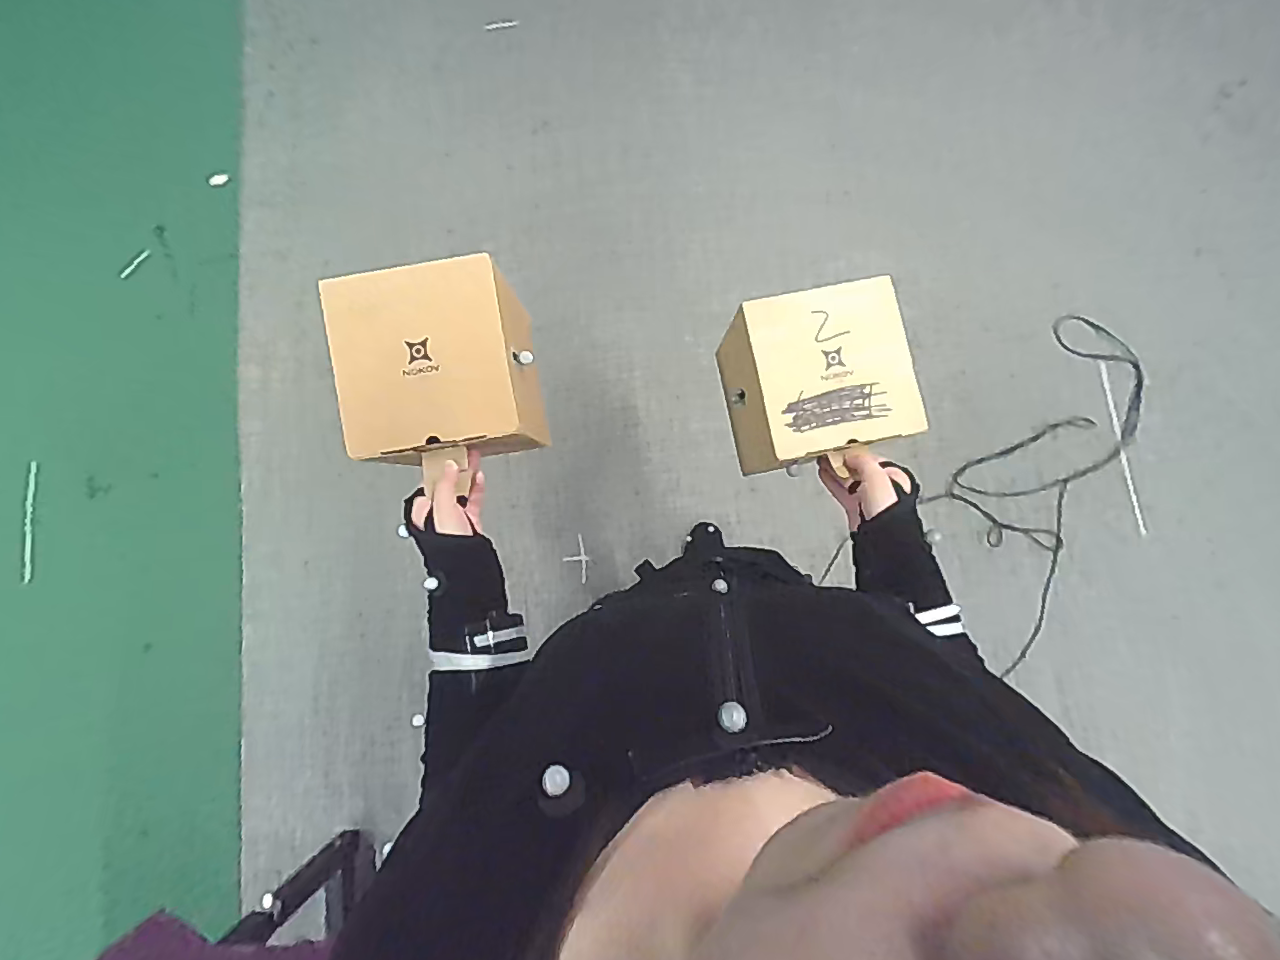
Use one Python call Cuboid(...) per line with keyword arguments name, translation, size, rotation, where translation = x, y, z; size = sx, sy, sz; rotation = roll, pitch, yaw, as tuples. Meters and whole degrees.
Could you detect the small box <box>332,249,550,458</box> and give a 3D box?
Cuboid(name="small box", translation=(-0.200, -0.123, 0.589), size=(0.168, 0.176, 0.179), rotation=(-8, 91, 0))
